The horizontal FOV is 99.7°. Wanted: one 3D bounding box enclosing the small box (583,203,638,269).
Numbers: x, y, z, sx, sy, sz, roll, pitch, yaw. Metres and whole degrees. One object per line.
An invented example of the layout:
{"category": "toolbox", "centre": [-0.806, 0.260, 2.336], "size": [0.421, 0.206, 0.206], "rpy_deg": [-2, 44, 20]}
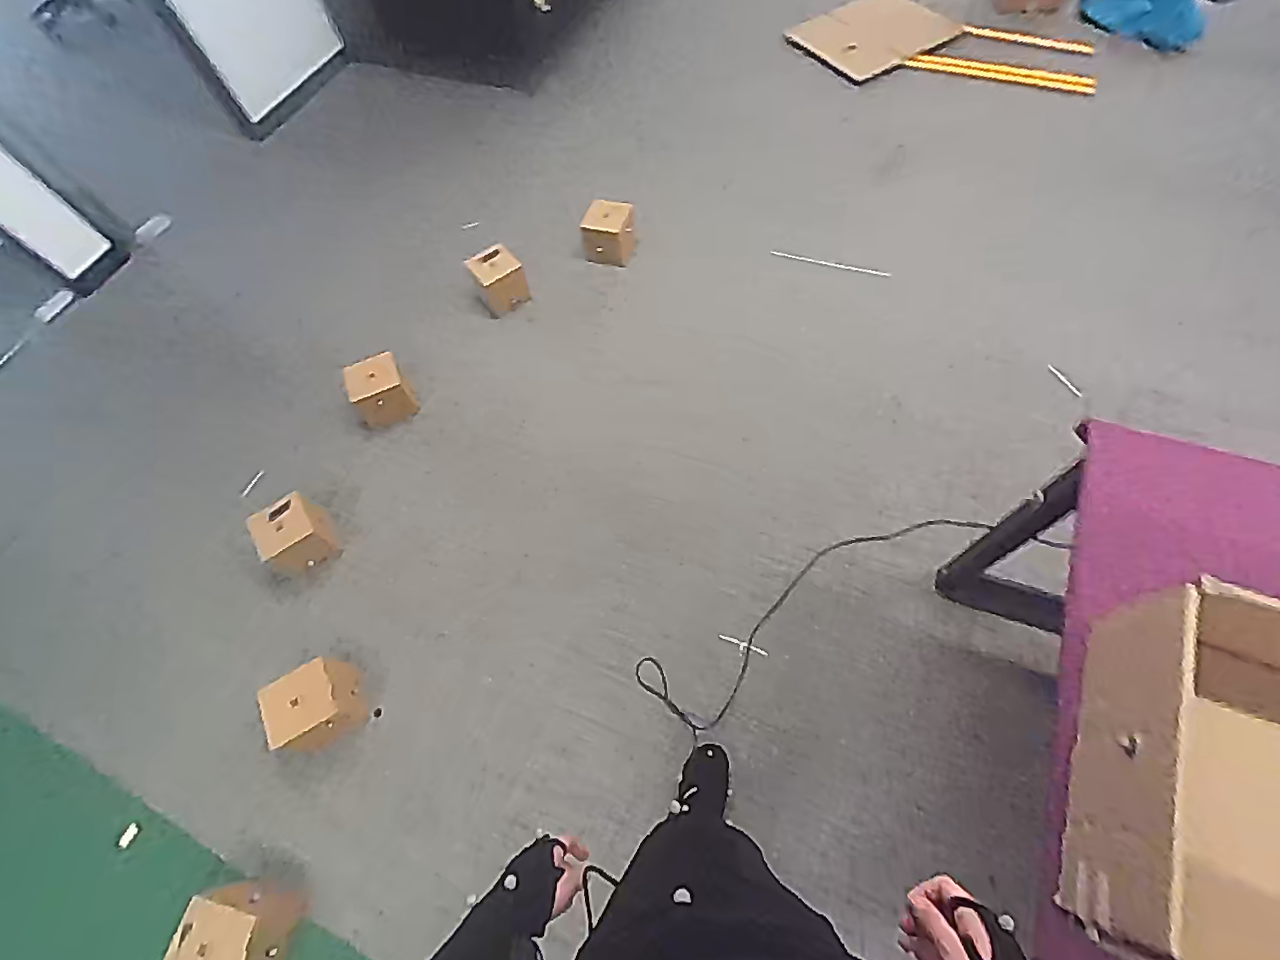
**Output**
{"category": "small box", "centre": [-0.115, -0.997, 2.218], "size": [0.168, 0.176, 0.179], "rpy_deg": [16, 65, 13]}

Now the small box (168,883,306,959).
{"category": "small box", "centre": [-0.910, 1.044, 1.225], "size": [0.179, 0.176, 0.168], "rpy_deg": [9, 64, 10]}

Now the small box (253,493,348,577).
{"category": "small box", "centre": [-1.061, 0.177, 1.697], "size": [0.168, 0.176, 0.179], "rpy_deg": [-33, 65, -11]}

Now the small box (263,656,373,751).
{"category": "small box", "centre": [-0.860, 0.606, 1.453], "size": [0.179, 0.176, 0.168], "rpy_deg": [-30, 63, -11]}
